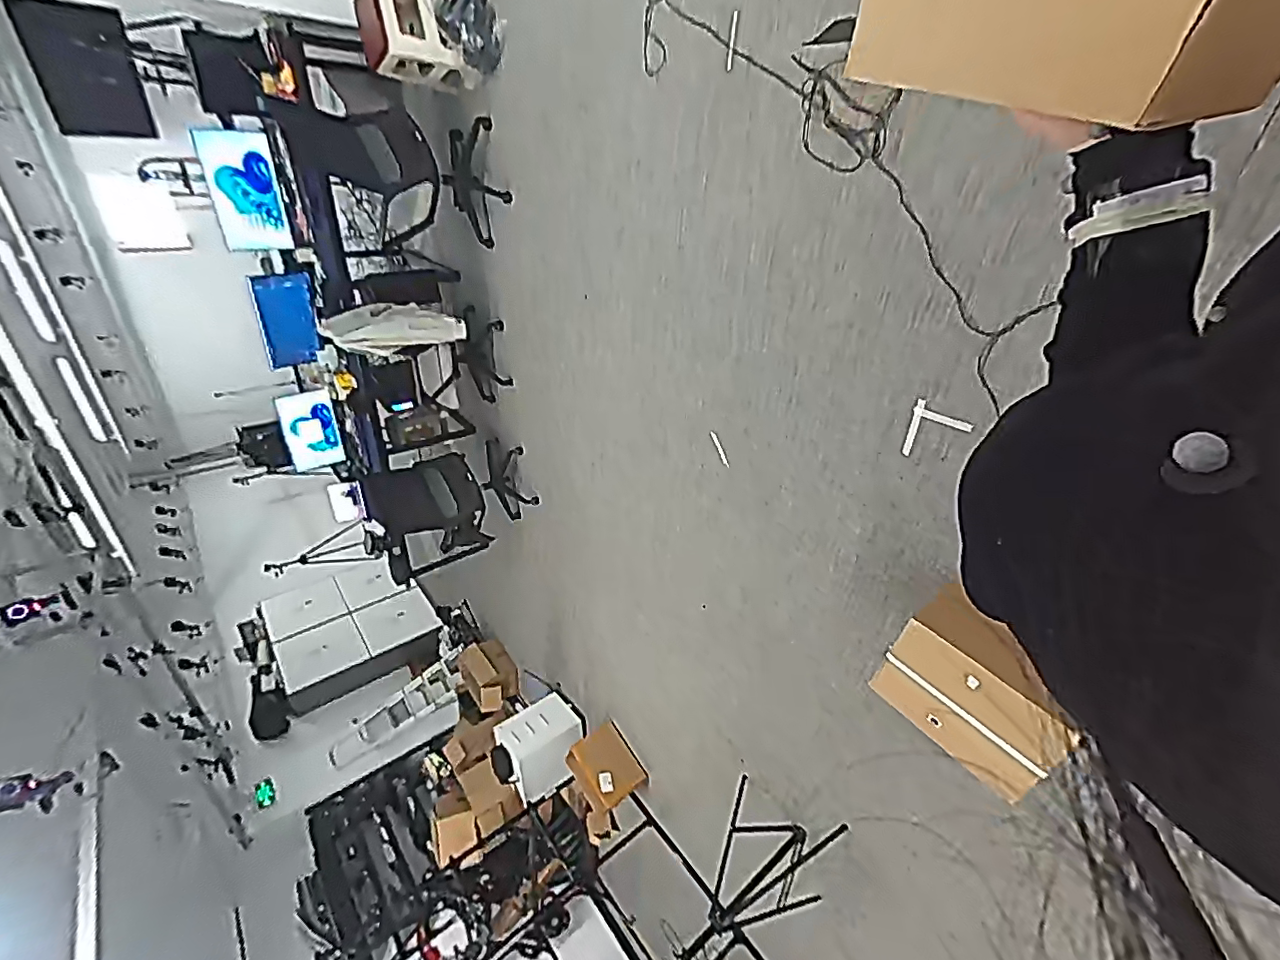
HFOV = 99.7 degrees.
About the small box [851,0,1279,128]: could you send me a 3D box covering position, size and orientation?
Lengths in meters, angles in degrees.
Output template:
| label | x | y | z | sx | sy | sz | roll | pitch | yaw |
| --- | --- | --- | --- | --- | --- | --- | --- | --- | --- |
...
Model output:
| label | x | y | z | sx | sy | sz | roll | pitch | yaw |
| --- | --- | --- | --- | --- | --- | --- | --- | --- | --- |
| small box | 0.253 | -0.299 | 0.278 | 0.179 | 0.176 | 0.168 | 47 | 147 | 37 |
